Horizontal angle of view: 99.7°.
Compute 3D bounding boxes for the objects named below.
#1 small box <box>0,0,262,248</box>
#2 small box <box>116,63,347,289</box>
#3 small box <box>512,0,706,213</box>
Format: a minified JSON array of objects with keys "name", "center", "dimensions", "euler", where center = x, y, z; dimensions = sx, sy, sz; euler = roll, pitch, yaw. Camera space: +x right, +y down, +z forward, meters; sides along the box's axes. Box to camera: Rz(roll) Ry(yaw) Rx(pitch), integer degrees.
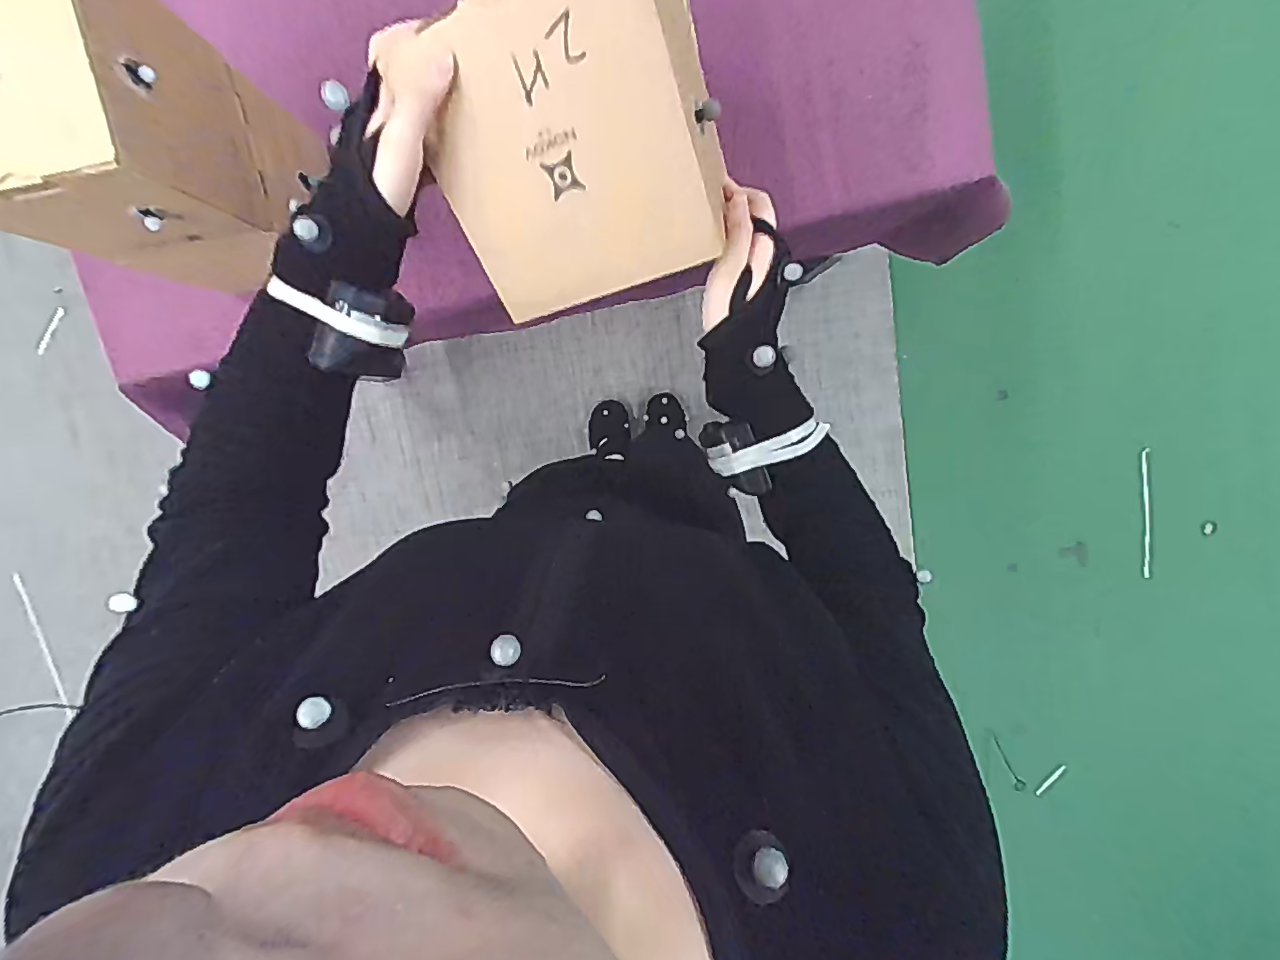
[{"name":"small box","center":[-0.472,-0.315,0.467],"dimensions":[0.168,0.176,0.179],"euler":[-9,98,1]},{"name":"small box","center":[-0.472,-0.334,0.629],"dimensions":[0.179,0.176,0.168],"euler":[-10,98,1]},{"name":"small box","center":[-0.028,-0.425,0.616],"dimensions":[0.179,0.176,0.168],"euler":[-9,99,1]}]
